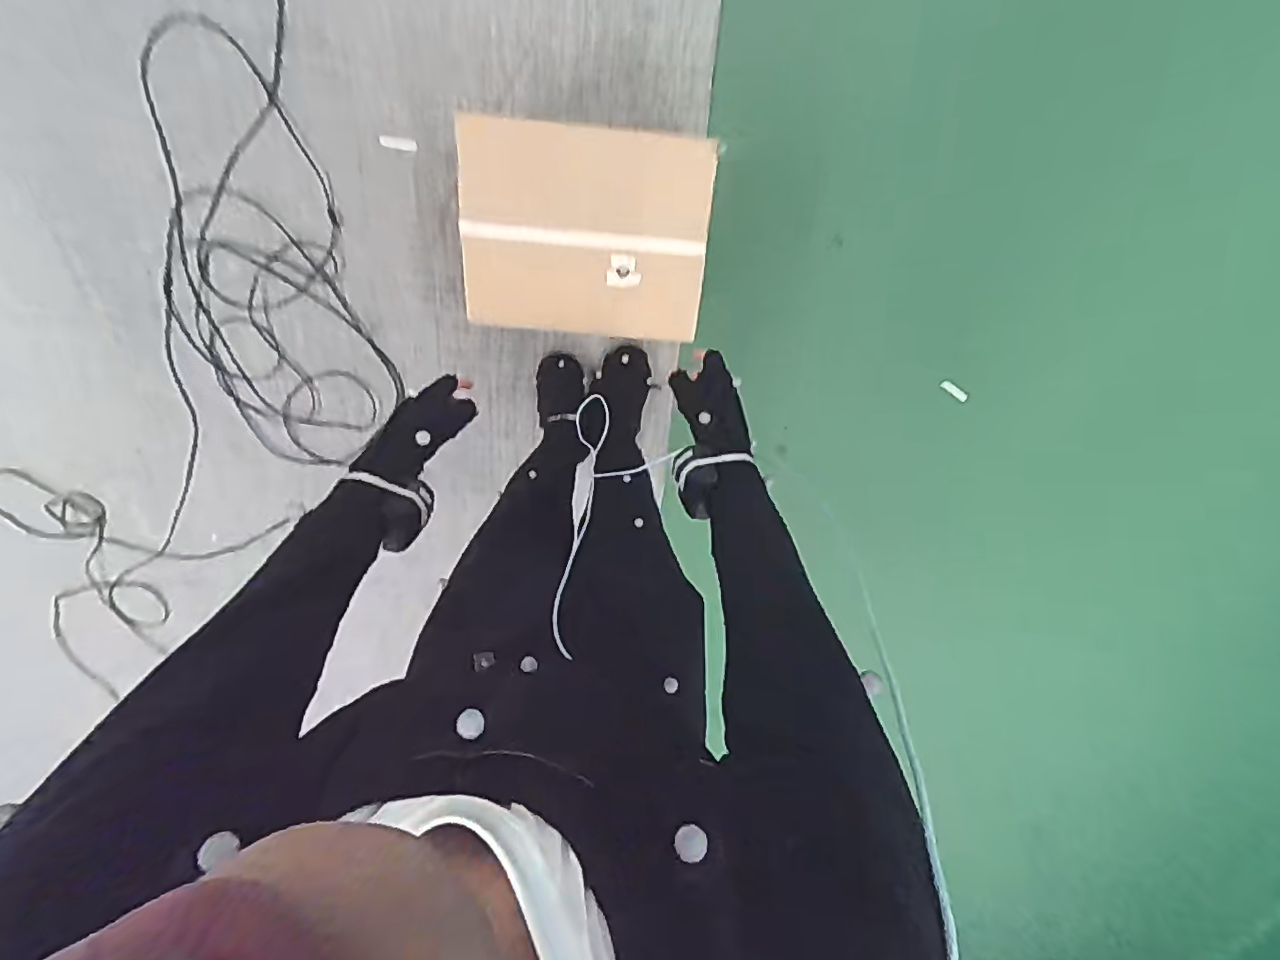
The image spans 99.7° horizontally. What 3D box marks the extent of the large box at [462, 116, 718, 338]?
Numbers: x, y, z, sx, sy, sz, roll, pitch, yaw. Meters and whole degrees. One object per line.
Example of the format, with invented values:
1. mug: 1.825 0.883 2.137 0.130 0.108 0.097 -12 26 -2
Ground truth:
1. large box: -0.093 -0.468 1.032 0.408 0.320 0.320 4 116 -4
